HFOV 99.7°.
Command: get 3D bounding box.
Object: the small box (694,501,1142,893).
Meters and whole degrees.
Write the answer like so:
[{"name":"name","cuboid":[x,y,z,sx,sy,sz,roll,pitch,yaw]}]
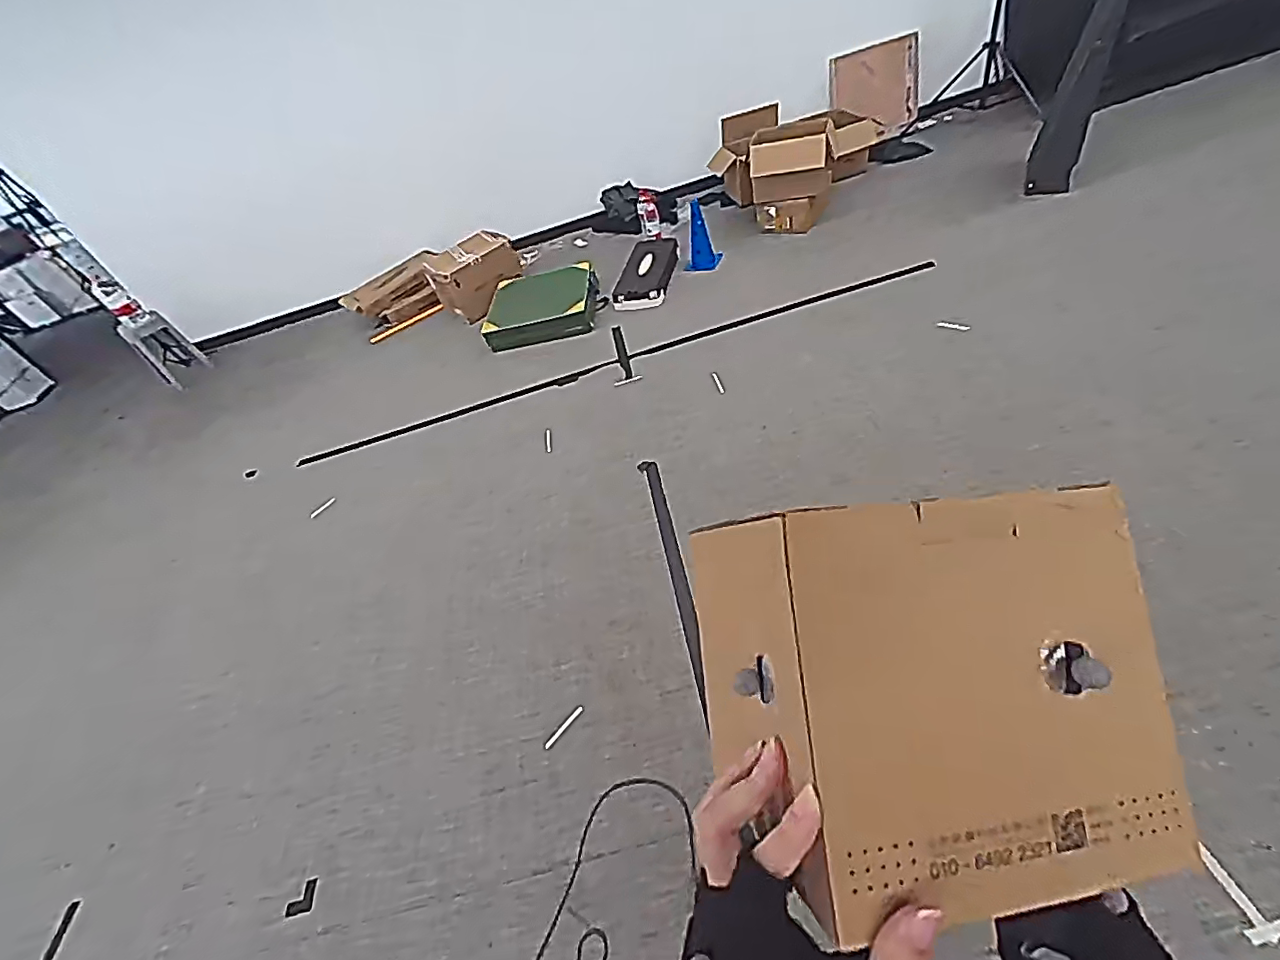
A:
[{"name":"small box","cuboid":[0.138,0.111,0.324,0.168,0.179,0.176,-4,82,-8]}]
